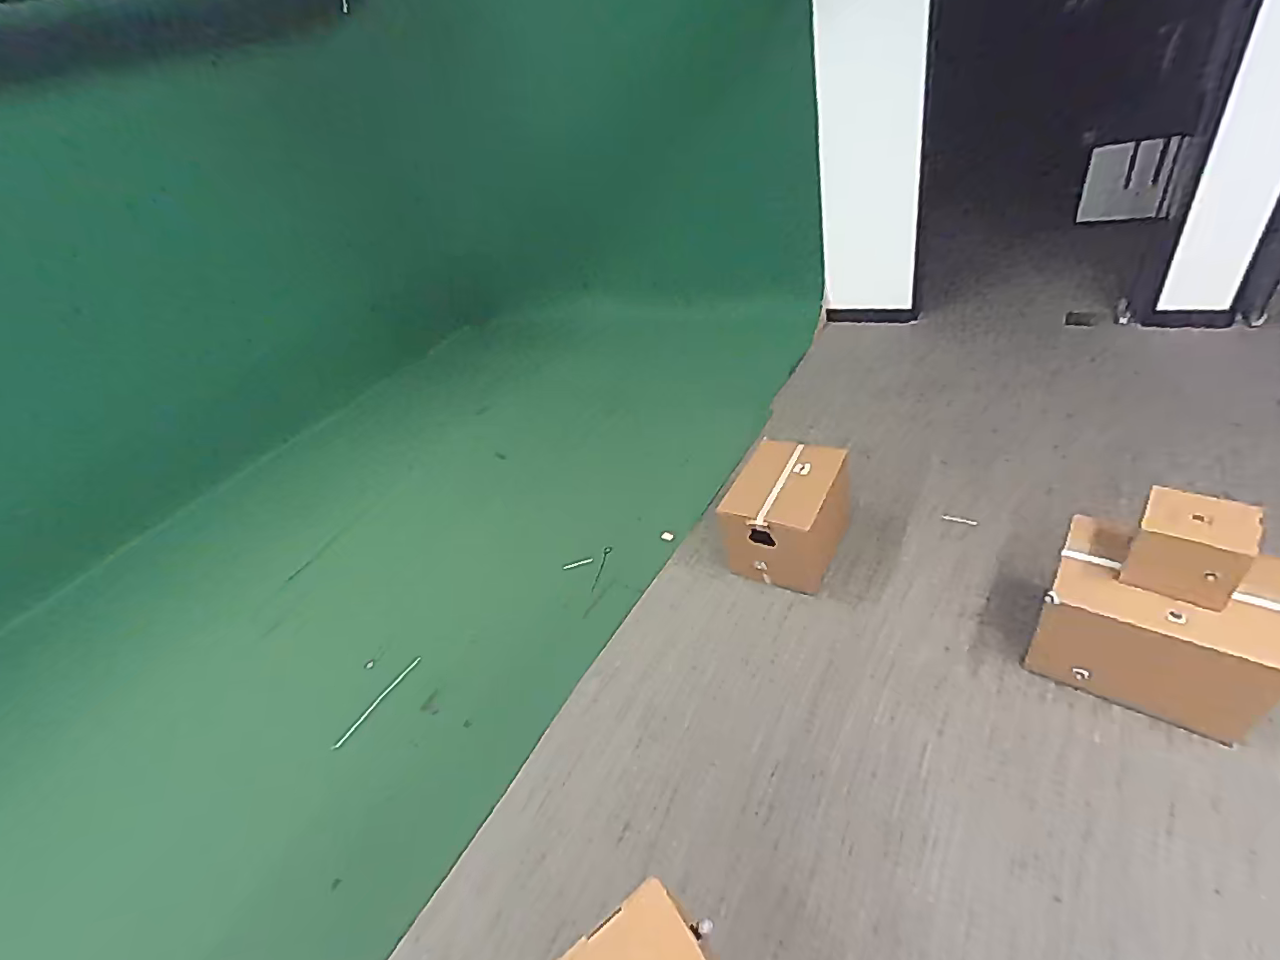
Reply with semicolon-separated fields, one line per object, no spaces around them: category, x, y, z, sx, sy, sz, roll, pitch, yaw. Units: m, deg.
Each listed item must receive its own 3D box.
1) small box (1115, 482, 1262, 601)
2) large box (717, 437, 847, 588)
small box;1.192;0.137;1.183;0.179;0.176;0.168;21;50;39
large box;0.511;0.103;1.890;0.320;0.320;0.408;12;46;33
